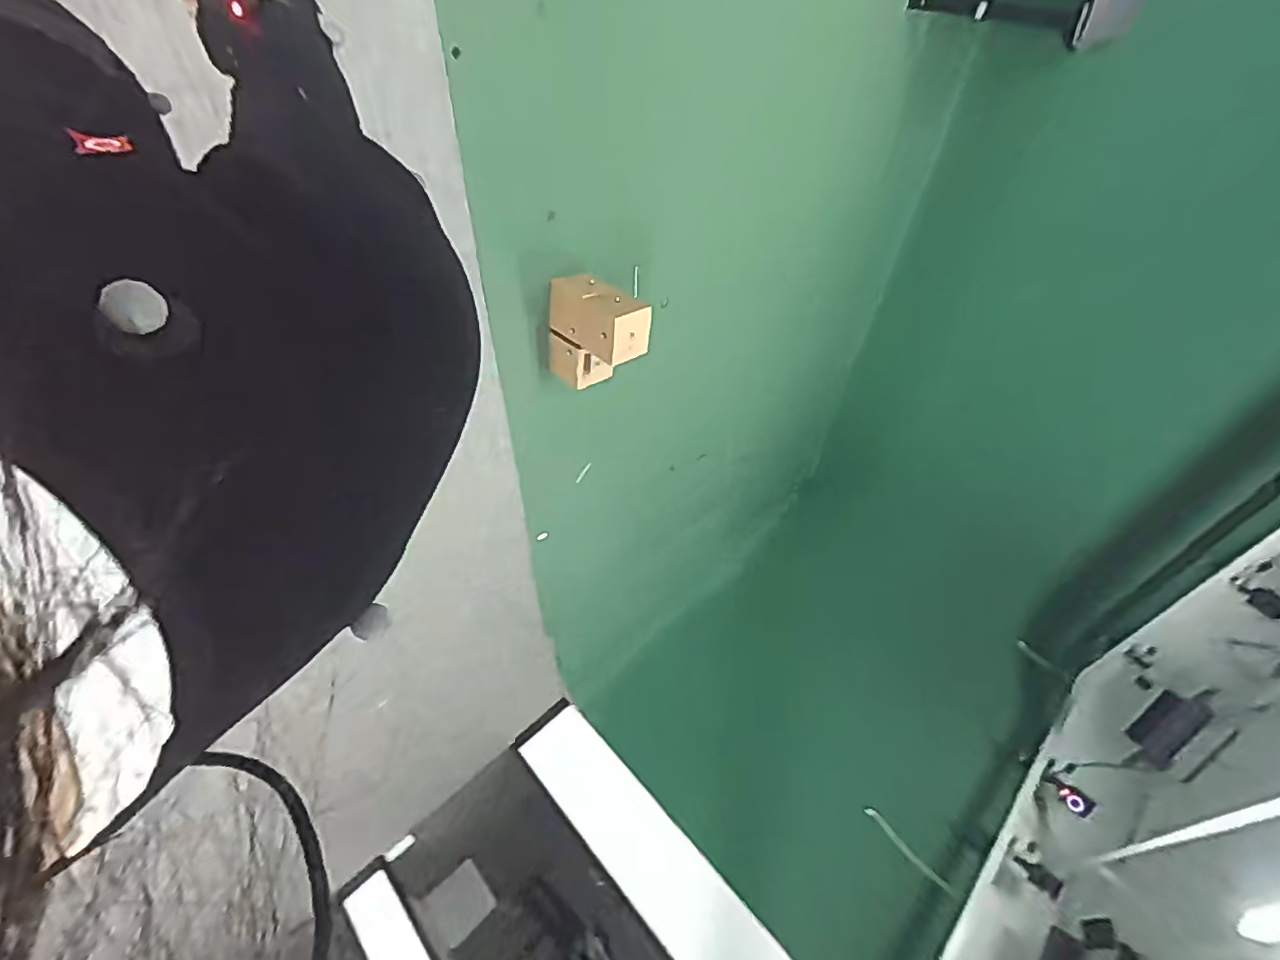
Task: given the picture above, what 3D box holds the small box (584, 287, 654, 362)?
[{"bbox_3d":[-0.075,-0.528,1.808,0.168,0.176,0.179,-30,145,-33],"label":"small box"}]
